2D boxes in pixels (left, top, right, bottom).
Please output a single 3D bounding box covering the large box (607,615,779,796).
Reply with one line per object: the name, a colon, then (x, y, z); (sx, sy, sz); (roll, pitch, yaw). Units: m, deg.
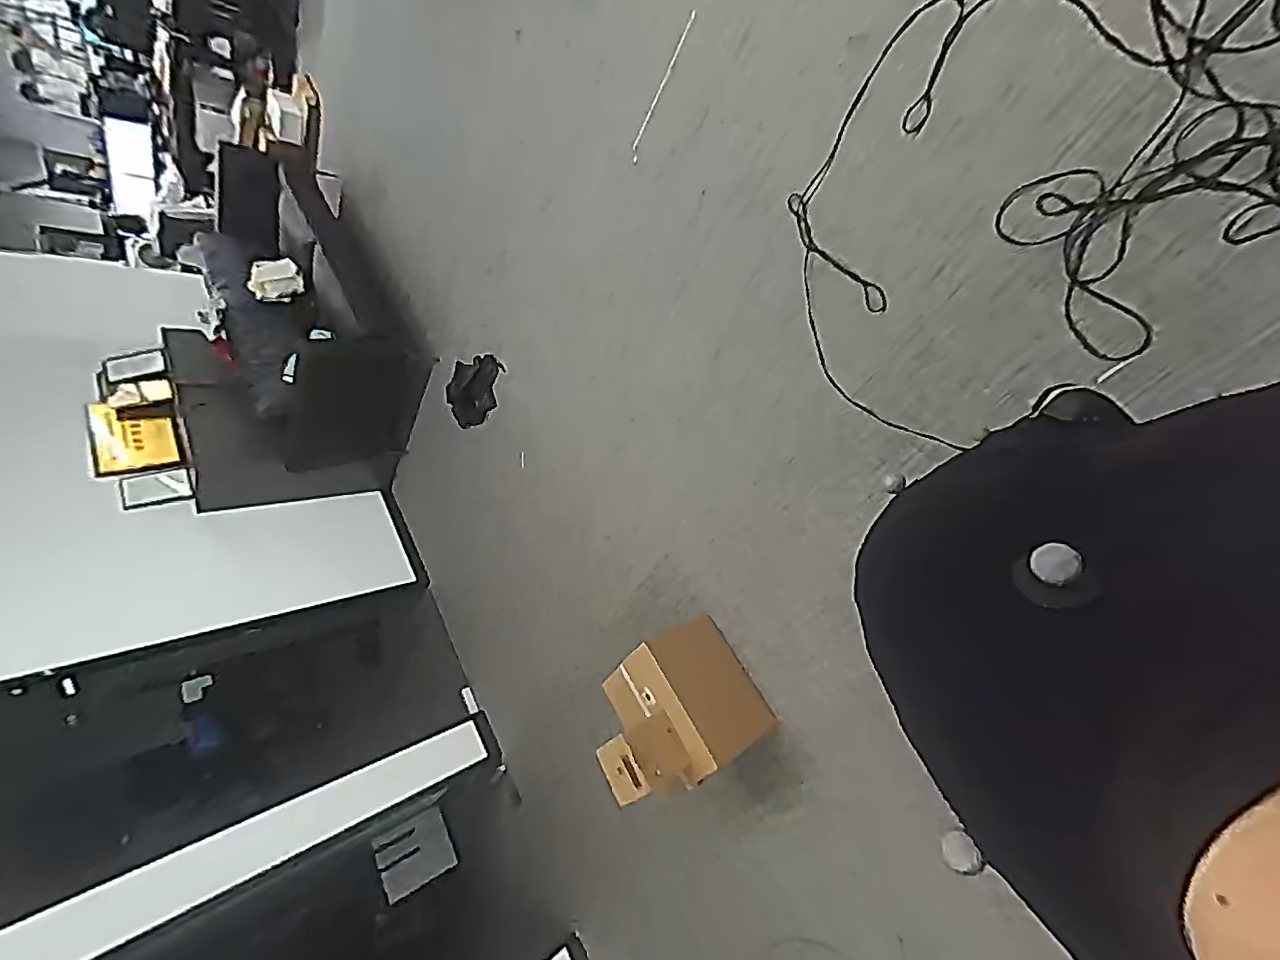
large box: (0.164, 0.718, 1.761); (0.408, 0.320, 0.320); (57, 131, 26)
